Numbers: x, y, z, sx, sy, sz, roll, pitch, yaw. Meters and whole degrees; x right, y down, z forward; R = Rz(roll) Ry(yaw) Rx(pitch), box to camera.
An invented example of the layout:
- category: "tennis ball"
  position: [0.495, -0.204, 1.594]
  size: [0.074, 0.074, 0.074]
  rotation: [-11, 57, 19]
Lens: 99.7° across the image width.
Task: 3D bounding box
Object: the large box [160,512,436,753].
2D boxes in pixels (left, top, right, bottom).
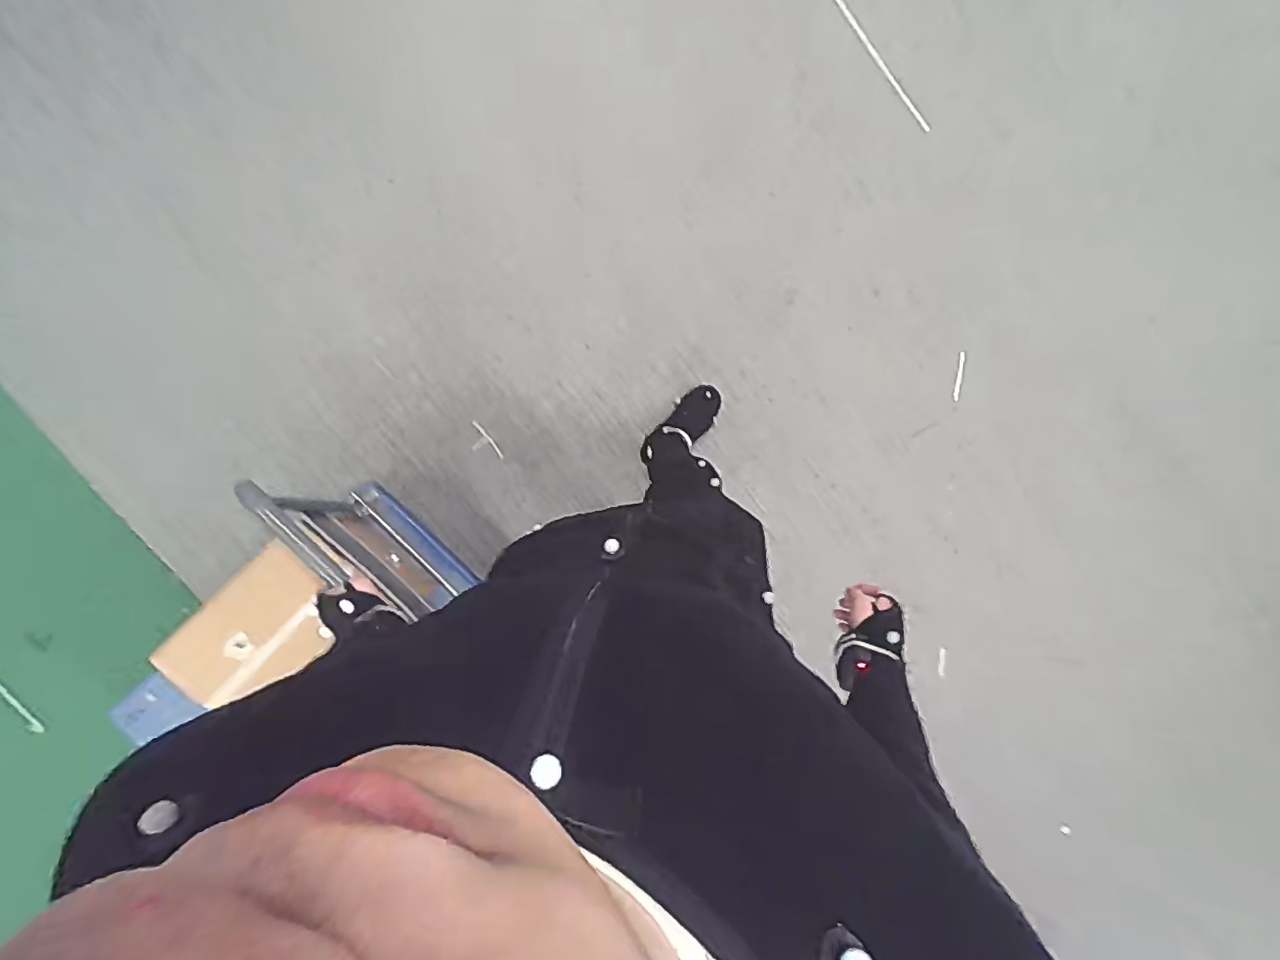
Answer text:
- category: "large box"
  position: [-0.768, 0.330, 1.291]
  size: [0.320, 0.320, 0.408]
  rotation: [44, 85, -5]
